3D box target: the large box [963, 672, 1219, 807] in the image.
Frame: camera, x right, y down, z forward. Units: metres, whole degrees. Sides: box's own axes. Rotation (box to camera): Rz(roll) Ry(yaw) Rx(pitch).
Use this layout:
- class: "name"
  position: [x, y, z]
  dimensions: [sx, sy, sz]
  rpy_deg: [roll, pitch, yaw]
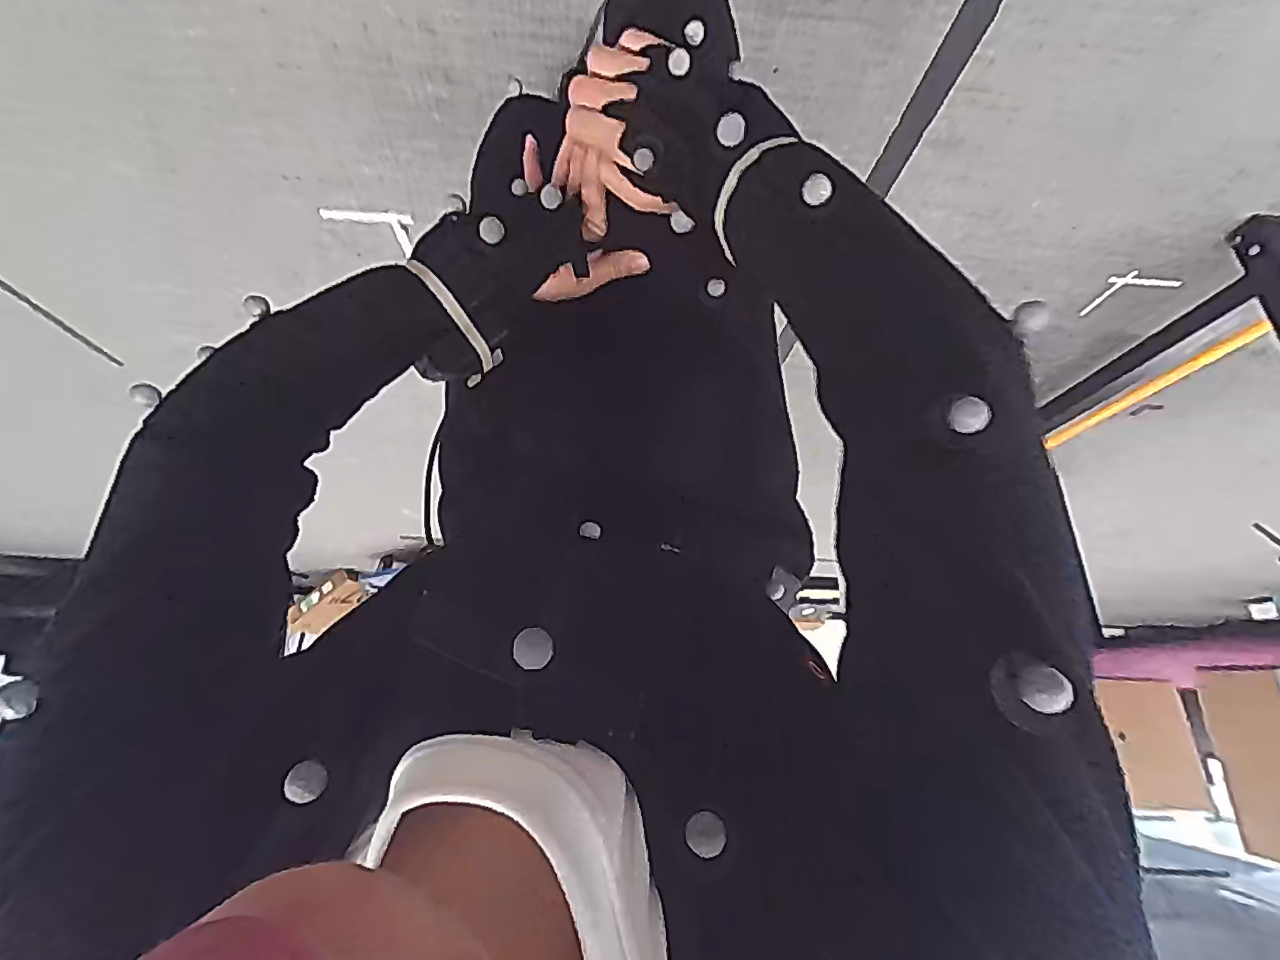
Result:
- class: "large box"
  position: [1.208, 0.707, 1.503]
  dimensions: [0.408, 0.320, 0.320]
  rpy_deg: [2, 159, -4]
